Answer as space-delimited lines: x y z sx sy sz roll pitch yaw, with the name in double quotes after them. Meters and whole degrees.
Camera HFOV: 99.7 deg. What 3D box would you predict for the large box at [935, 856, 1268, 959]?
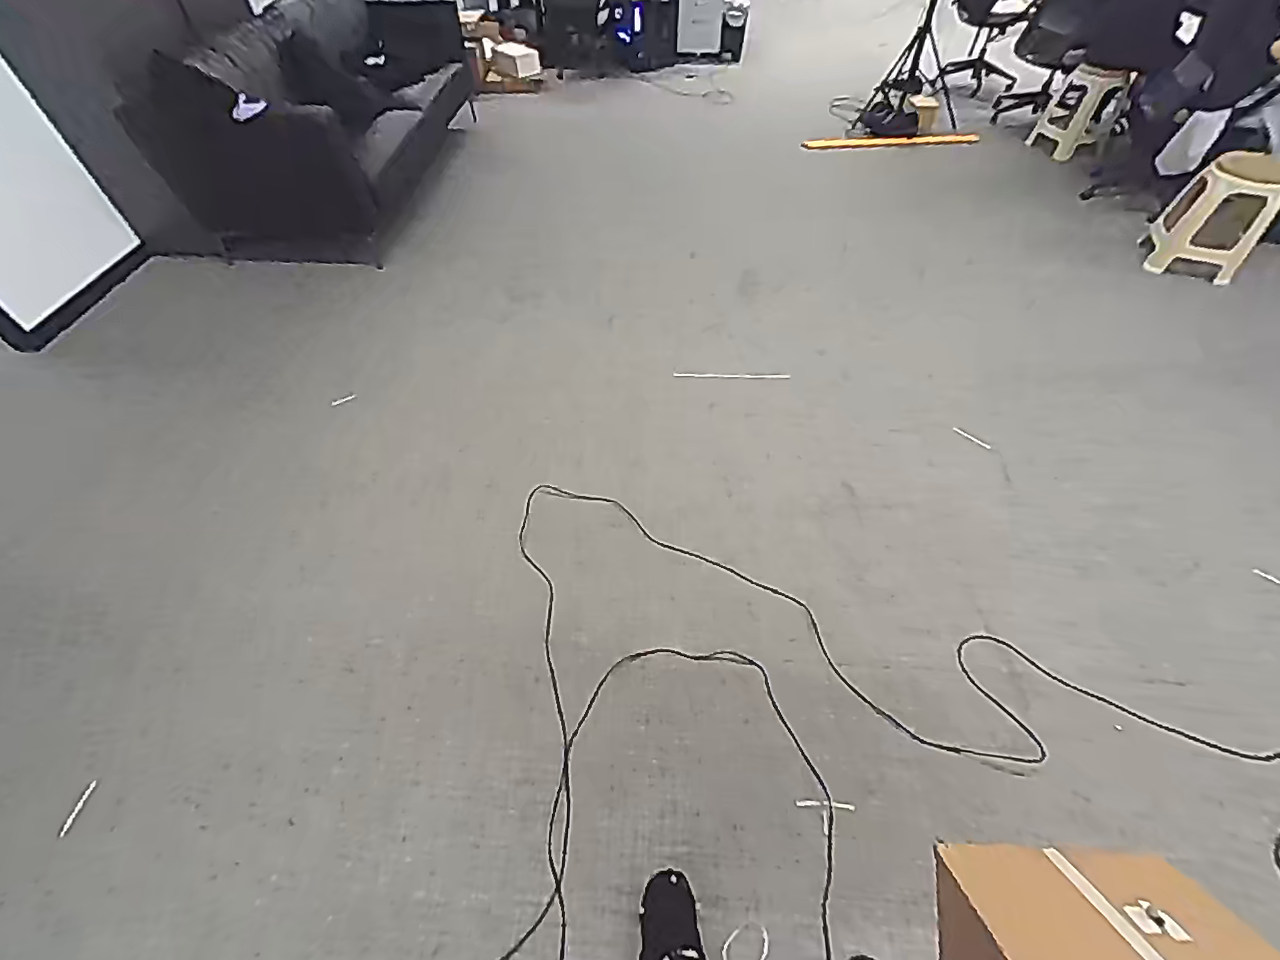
0.580 0.710 0.600 0.320 0.408 0.320 0 88 7 "large box"
